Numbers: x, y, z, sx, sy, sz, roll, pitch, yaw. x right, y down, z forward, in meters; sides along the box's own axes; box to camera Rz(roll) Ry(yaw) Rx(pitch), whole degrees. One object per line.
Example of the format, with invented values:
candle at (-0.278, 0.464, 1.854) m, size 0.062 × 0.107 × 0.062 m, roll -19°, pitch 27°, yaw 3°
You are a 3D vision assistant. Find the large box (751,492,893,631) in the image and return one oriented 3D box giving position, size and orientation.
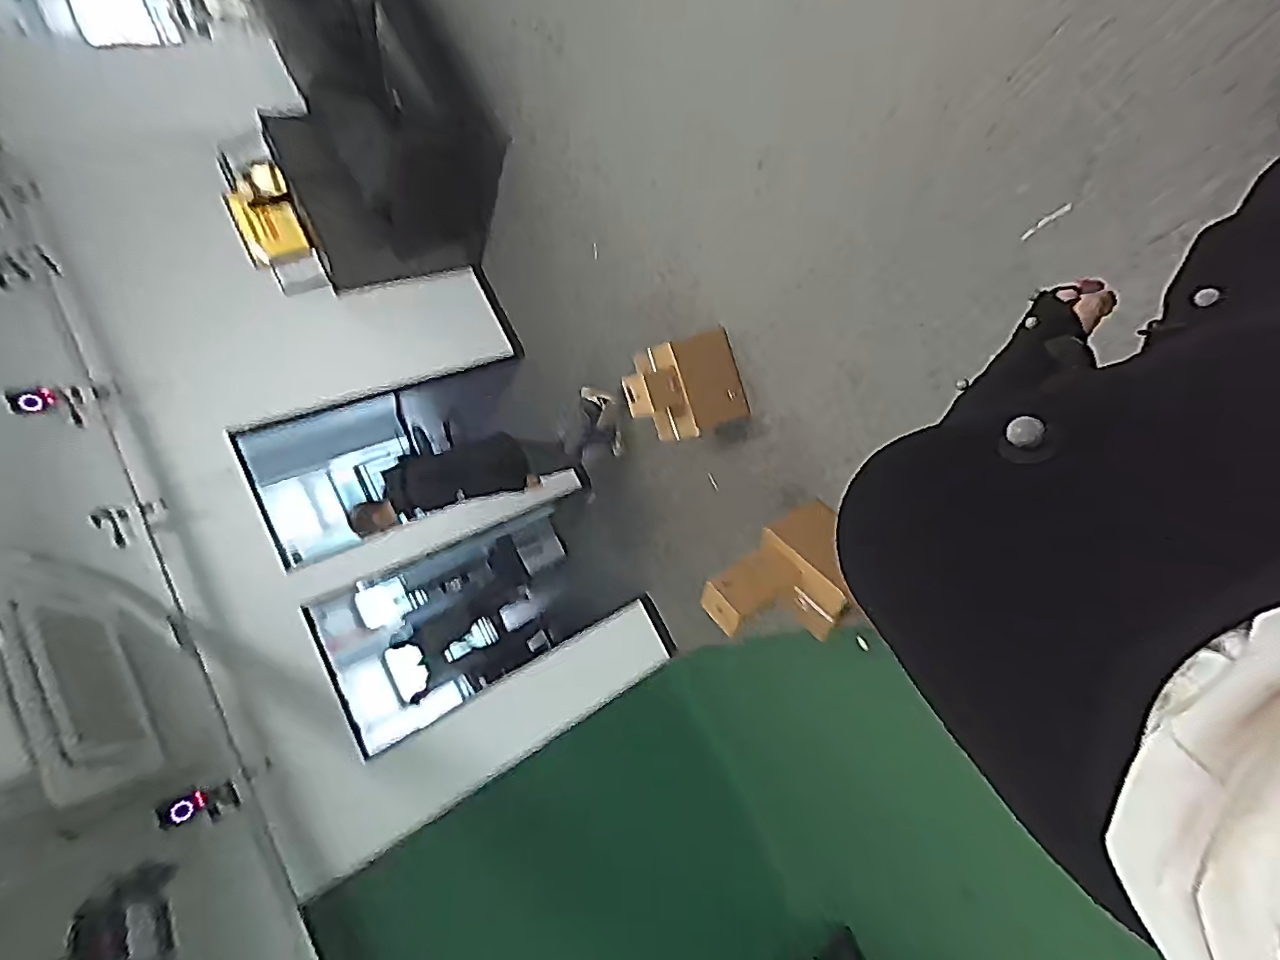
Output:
large box at (0.726, 0.320, 2.207) m, size 0.408 × 0.320 × 0.320 m, roll 43°, pitch 146°, yaw 34°

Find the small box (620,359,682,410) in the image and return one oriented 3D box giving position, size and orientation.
small box at (0.048, -0.403, 2.277) m, size 0.179 × 0.176 × 0.168 m, roll 2°, pitch 113°, yaw 57°

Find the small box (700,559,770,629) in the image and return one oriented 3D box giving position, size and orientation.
small box at (0.356, 0.420, 2.043) m, size 0.179 × 0.176 × 0.168 m, roll 47°, pitch 147°, yaw 30°
